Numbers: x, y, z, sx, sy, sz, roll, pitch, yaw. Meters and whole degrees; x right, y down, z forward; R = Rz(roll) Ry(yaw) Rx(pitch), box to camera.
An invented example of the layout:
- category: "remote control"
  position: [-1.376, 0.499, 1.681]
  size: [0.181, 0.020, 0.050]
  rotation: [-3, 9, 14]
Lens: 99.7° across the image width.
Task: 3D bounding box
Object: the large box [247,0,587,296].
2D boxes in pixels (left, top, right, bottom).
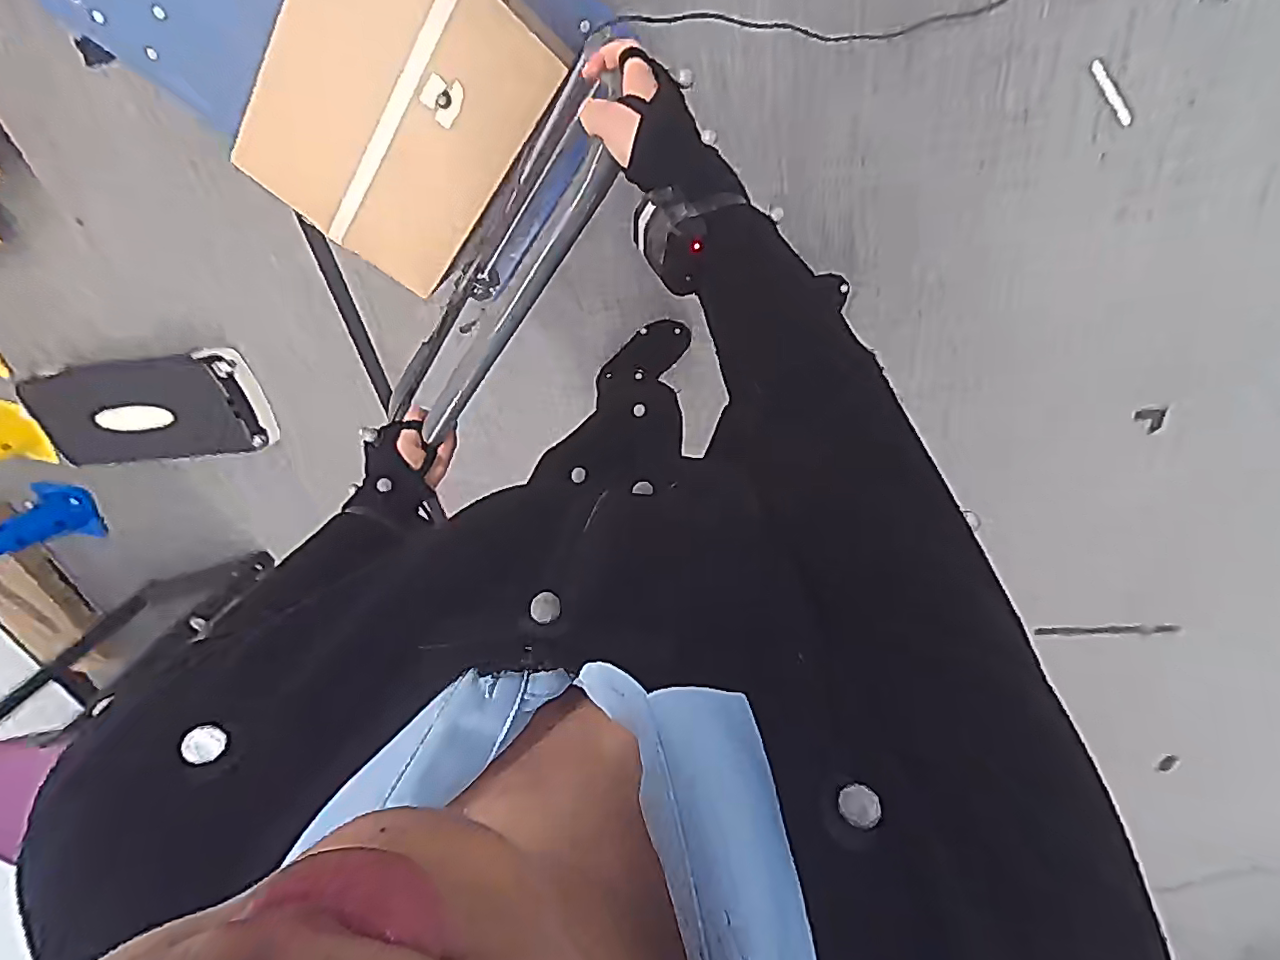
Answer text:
- category: "large box"
  position: [-0.332, -0.588, 0.872]
  size: [0.320, 0.320, 0.408]
  rotation: [34, 119, -23]
